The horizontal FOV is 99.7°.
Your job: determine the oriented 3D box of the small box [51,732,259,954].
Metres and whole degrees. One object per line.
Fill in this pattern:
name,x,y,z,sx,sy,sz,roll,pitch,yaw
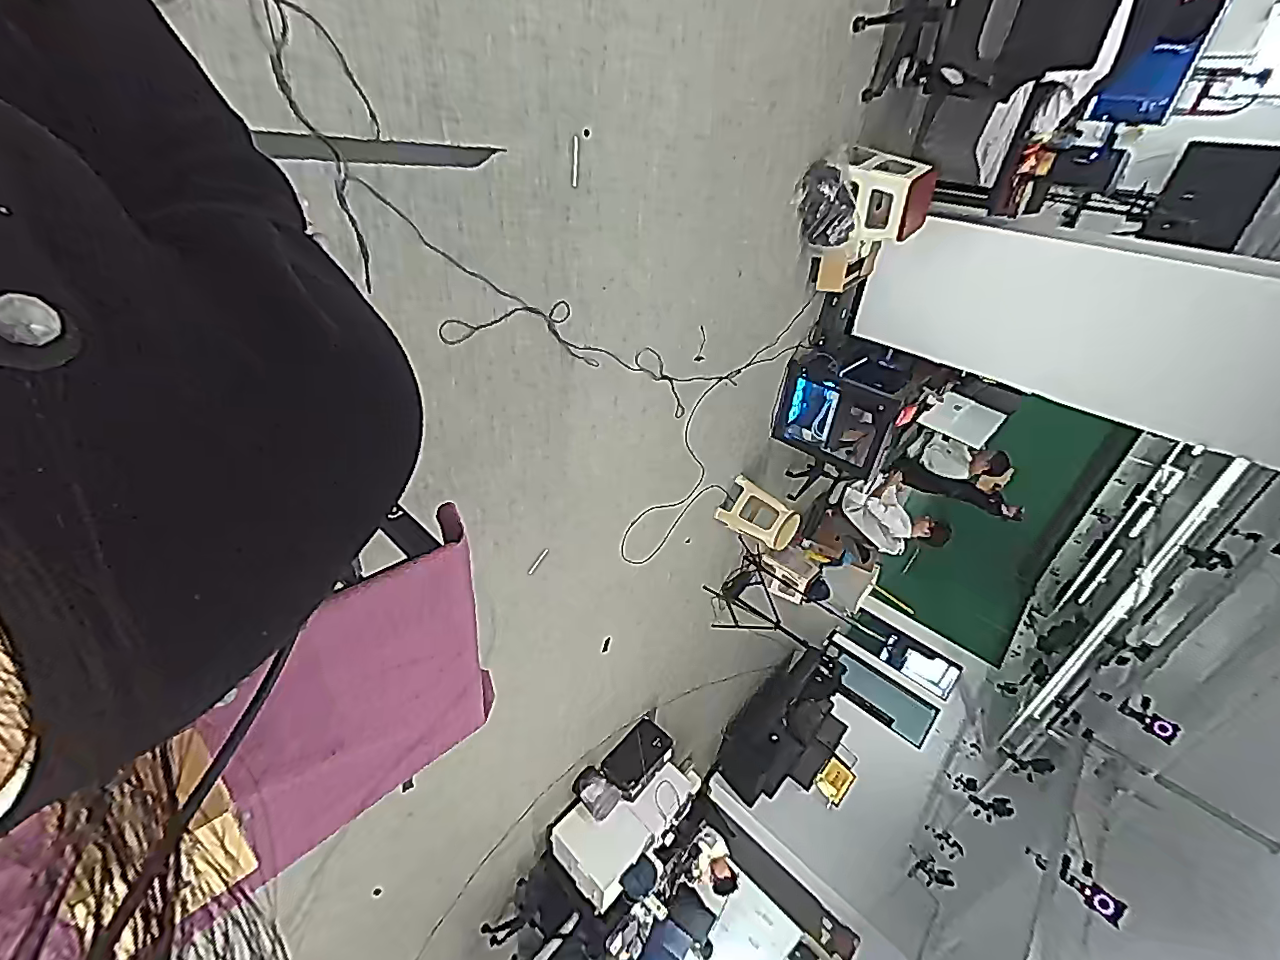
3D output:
small box,-0.687,0.507,0.776,0.168,0.176,0.179,-26,136,-42
